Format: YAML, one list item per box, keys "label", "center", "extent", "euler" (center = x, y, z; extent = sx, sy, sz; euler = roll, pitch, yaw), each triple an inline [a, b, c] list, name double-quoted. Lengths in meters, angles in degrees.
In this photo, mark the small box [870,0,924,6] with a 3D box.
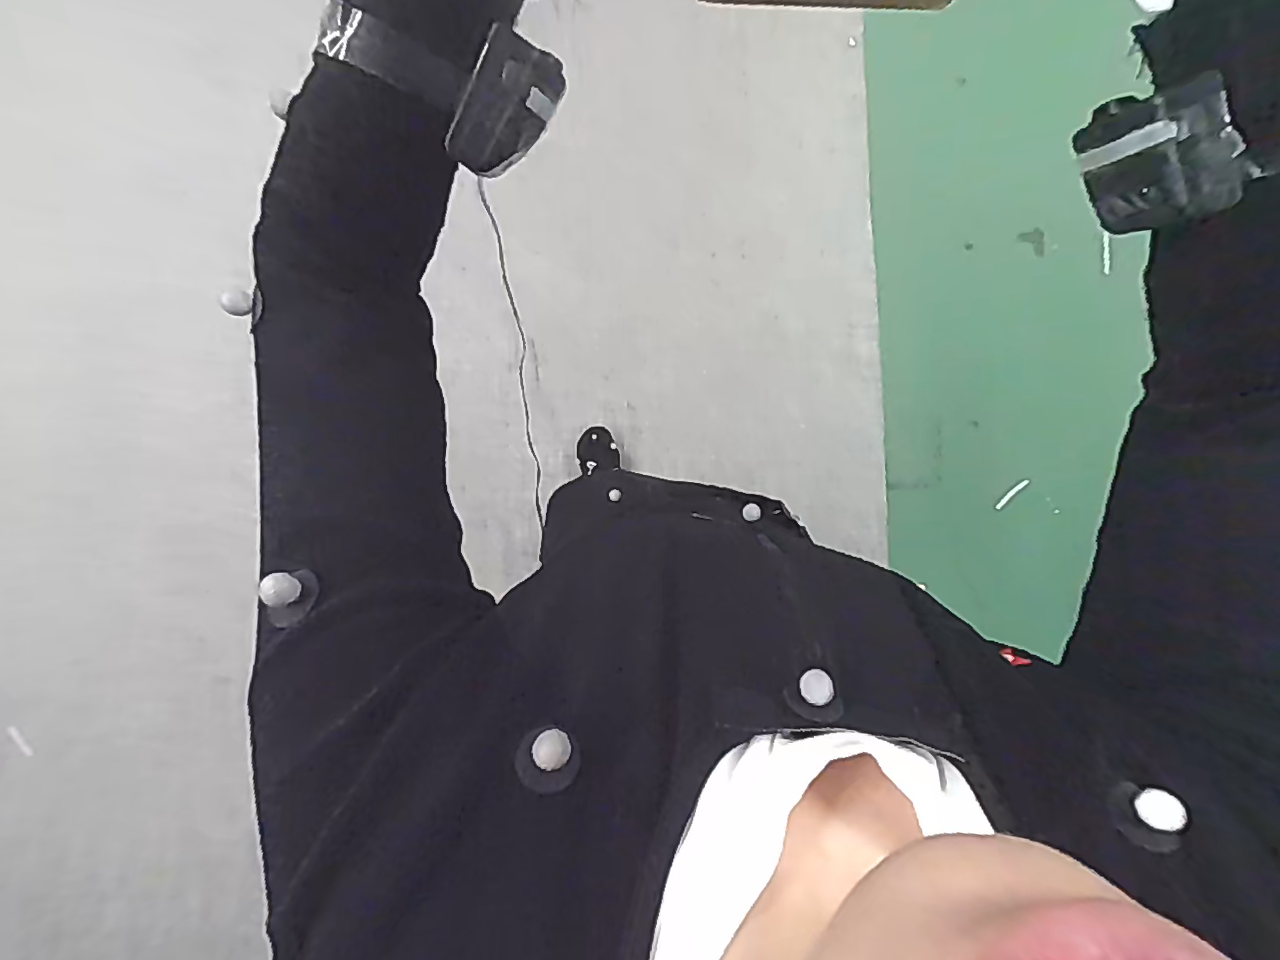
- label: "small box"
  center: [0.118, -0.400, 0.272]
  extent: [0.168, 0.176, 0.179]
  euler: [1, 86, -1]
